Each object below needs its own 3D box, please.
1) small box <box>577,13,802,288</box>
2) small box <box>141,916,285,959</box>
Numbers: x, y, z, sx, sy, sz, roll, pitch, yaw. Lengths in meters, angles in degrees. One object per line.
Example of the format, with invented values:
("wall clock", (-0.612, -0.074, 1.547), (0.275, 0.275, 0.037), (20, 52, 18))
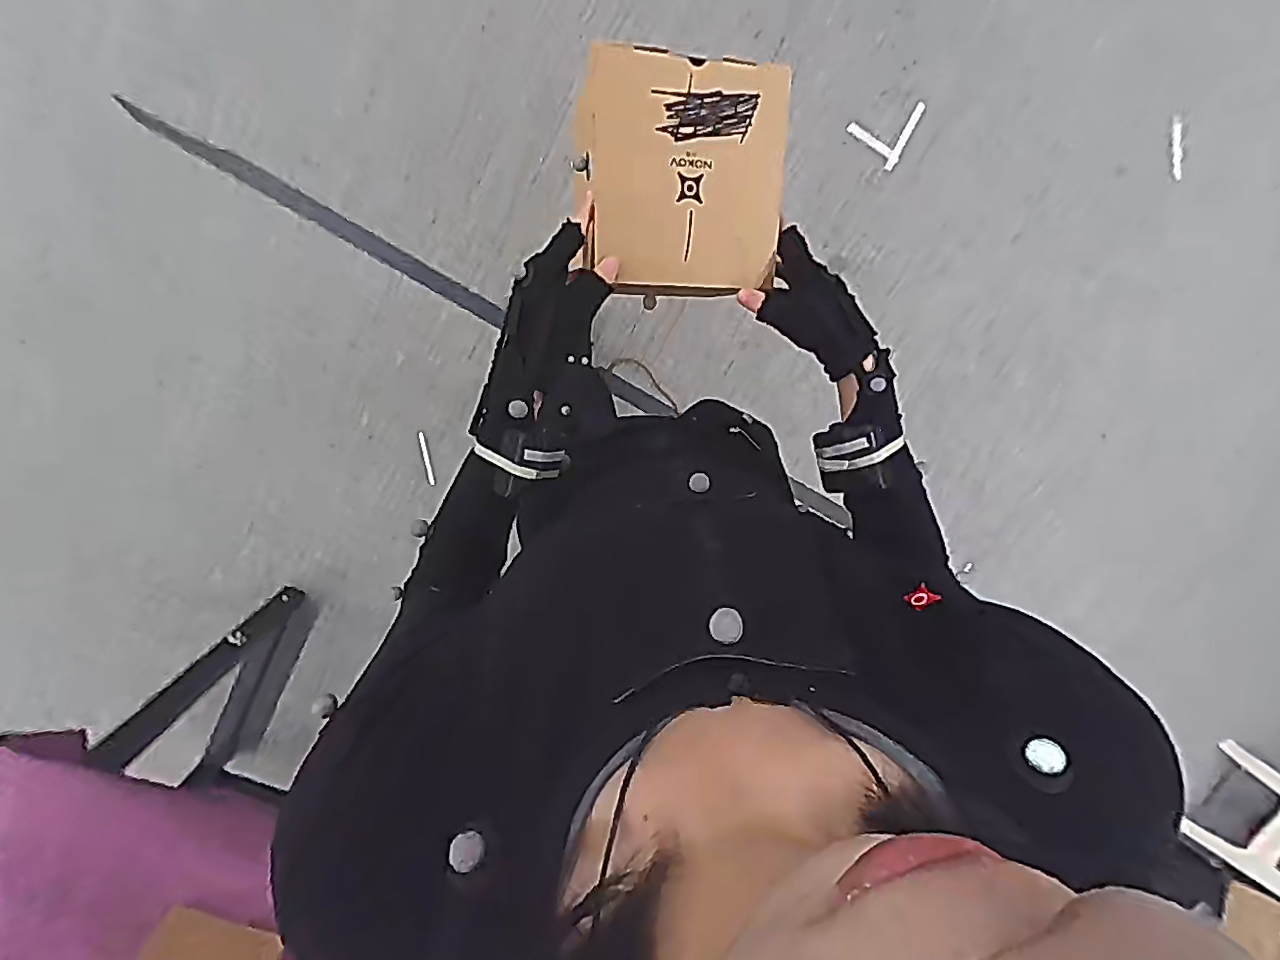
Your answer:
("small box", (0.030, -0.283, 0.512), (0.168, 0.176, 0.179), (-1, 107, -12))
("small box", (-0.654, 0.767, 0.759), (0.179, 0.176, 0.168), (30, 100, -14))
